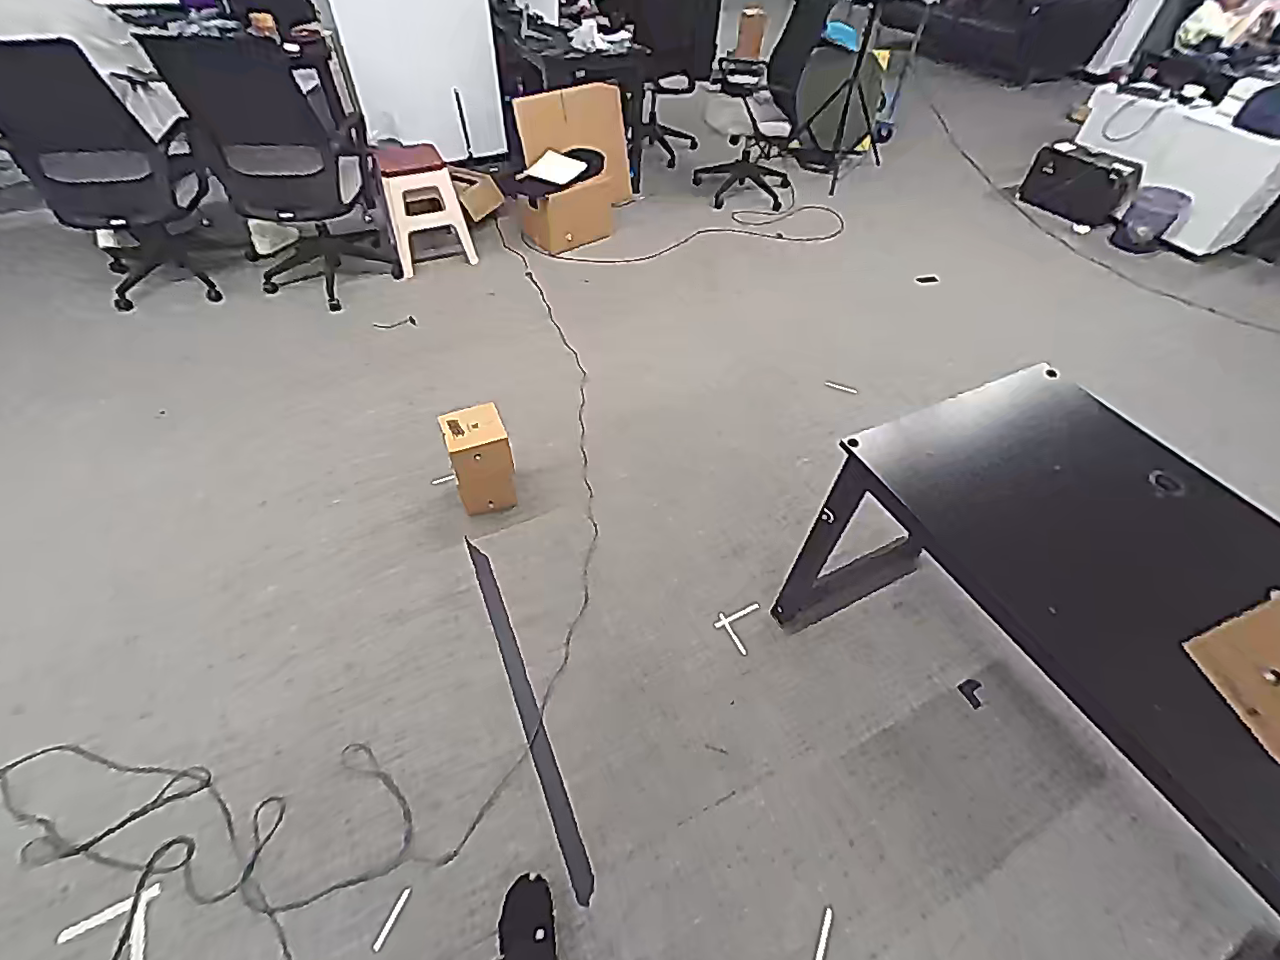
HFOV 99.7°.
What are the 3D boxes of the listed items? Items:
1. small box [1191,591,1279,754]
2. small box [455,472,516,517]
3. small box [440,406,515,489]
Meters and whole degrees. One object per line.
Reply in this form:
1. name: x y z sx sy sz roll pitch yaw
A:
1. small box: 0.913 0.252 0.722 0.179 0.176 0.168 -5 51 -7
2. small box: -0.519 -0.001 1.816 0.179 0.176 0.168 -13 52 -14
3. small box: -0.502 -0.097 1.681 0.179 0.176 0.168 -18 54 -17
